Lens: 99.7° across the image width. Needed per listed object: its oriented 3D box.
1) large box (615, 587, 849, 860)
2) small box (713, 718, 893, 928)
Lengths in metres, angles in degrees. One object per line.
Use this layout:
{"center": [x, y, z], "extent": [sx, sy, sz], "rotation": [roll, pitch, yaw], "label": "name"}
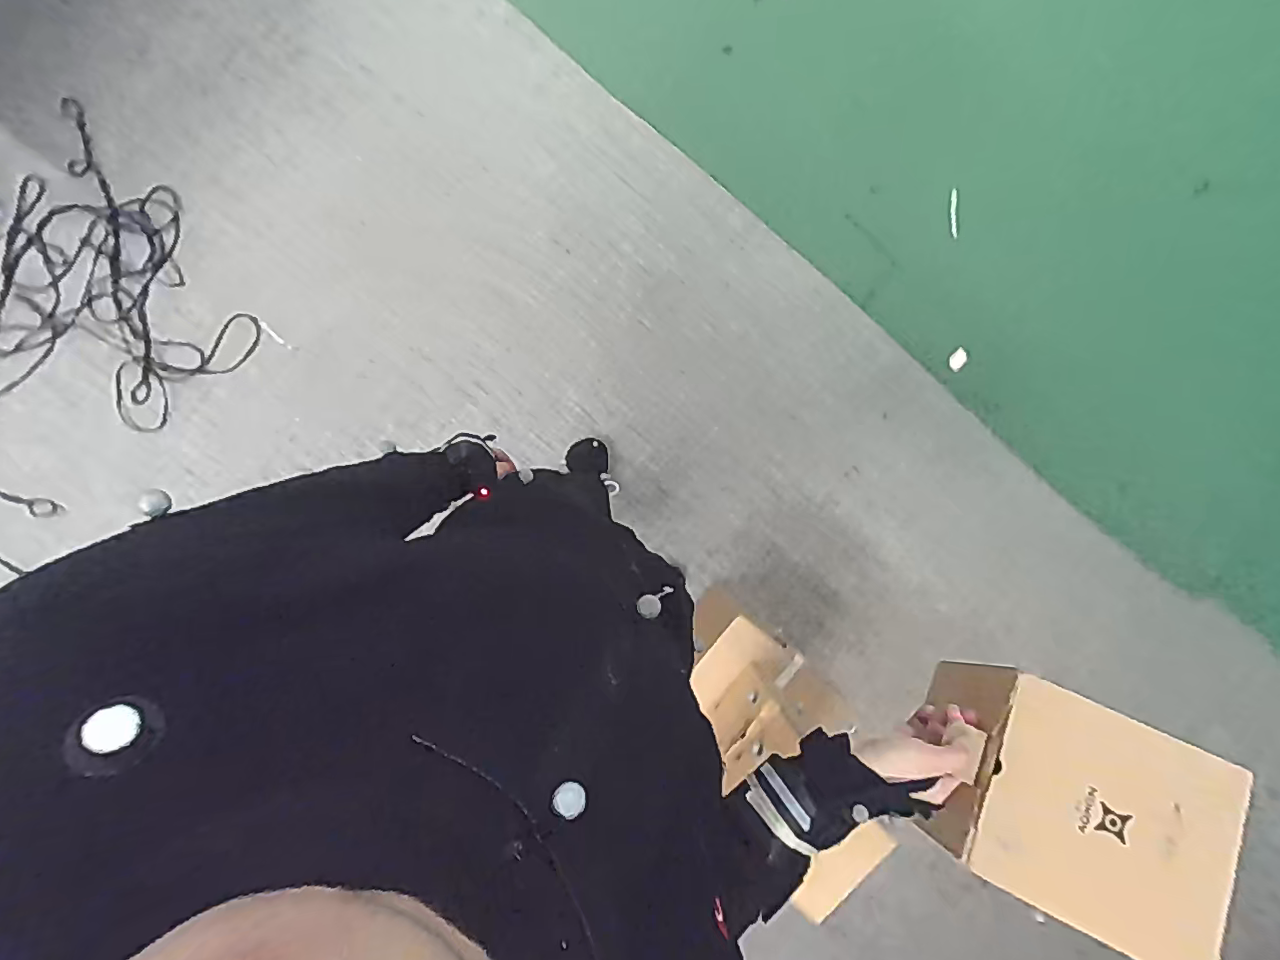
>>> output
{"center": [0.184, 0.521, 1.239], "extent": [0.320, 0.320, 0.408], "rotation": [39, 91, -1], "label": "large box"}
{"center": [0.237, 0.510, 0.833], "extent": [0.179, 0.176, 0.168], "rotation": [45, 90, -2], "label": "small box"}
